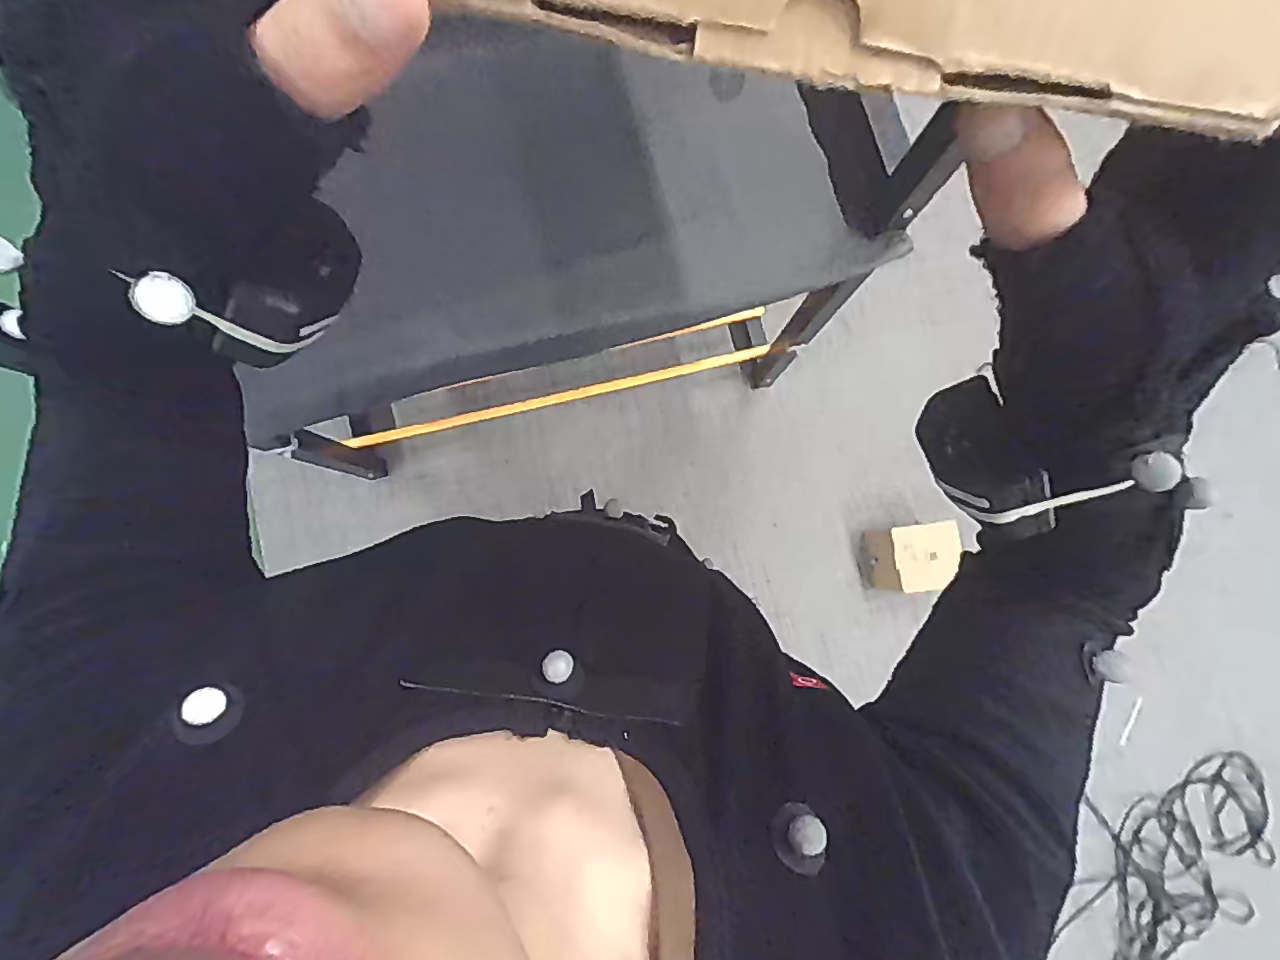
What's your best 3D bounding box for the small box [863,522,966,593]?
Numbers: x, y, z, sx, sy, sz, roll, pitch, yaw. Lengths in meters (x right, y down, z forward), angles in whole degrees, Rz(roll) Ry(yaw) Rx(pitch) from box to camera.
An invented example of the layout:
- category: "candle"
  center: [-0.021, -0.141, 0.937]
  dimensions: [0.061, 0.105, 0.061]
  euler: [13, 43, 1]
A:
- category: "small box"
  center: [0.726, 0.203, 1.445]
  dimensions: [0.179, 0.176, 0.168]
  euler: [-7, 83, -1]
